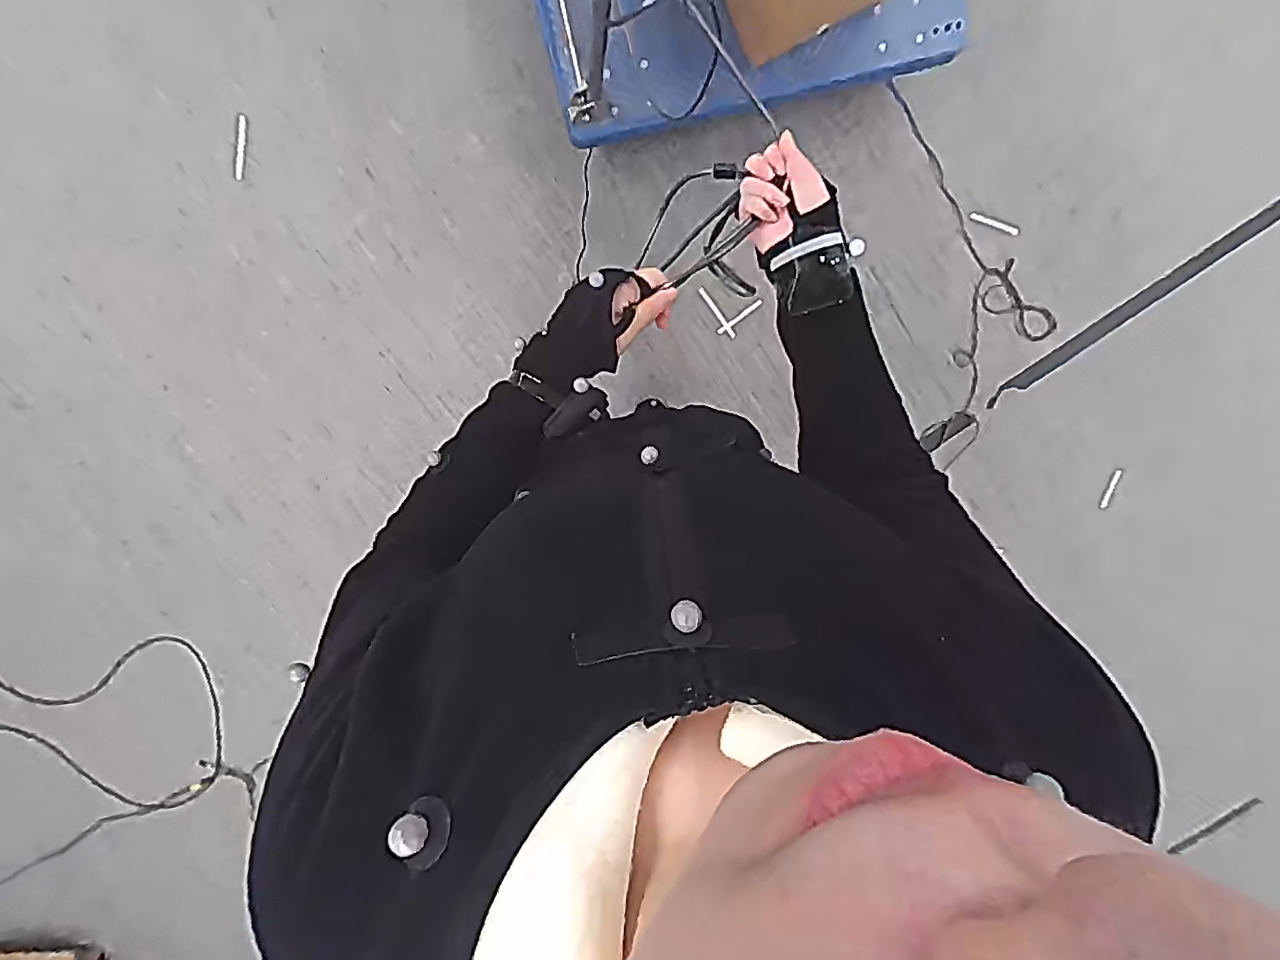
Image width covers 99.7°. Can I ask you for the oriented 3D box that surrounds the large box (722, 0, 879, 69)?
[{"bbox_3d":[0.283,-1.059,0.937,0.320,0.320,0.408,-27,104,4],"label":"large box"}]
